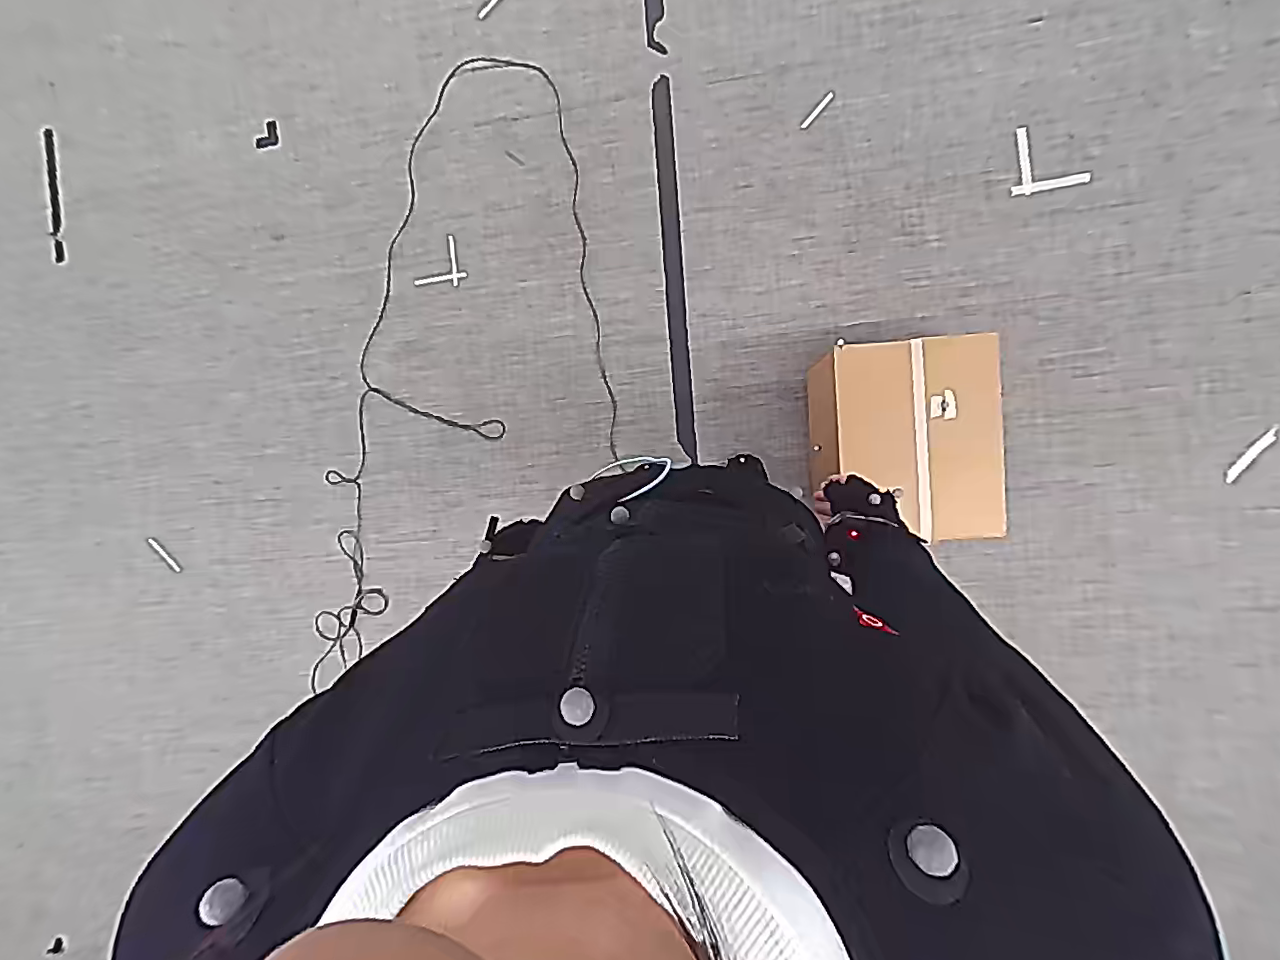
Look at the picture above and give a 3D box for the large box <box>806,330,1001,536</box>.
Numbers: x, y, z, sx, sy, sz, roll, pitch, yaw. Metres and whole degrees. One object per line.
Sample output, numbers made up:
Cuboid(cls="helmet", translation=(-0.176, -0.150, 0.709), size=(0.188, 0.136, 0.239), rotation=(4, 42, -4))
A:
Cuboid(cls="large box", translation=(0.576, -0.094, 1.244), size=(0.320, 0.320, 0.408), rotation=(-3, 91, 6))
